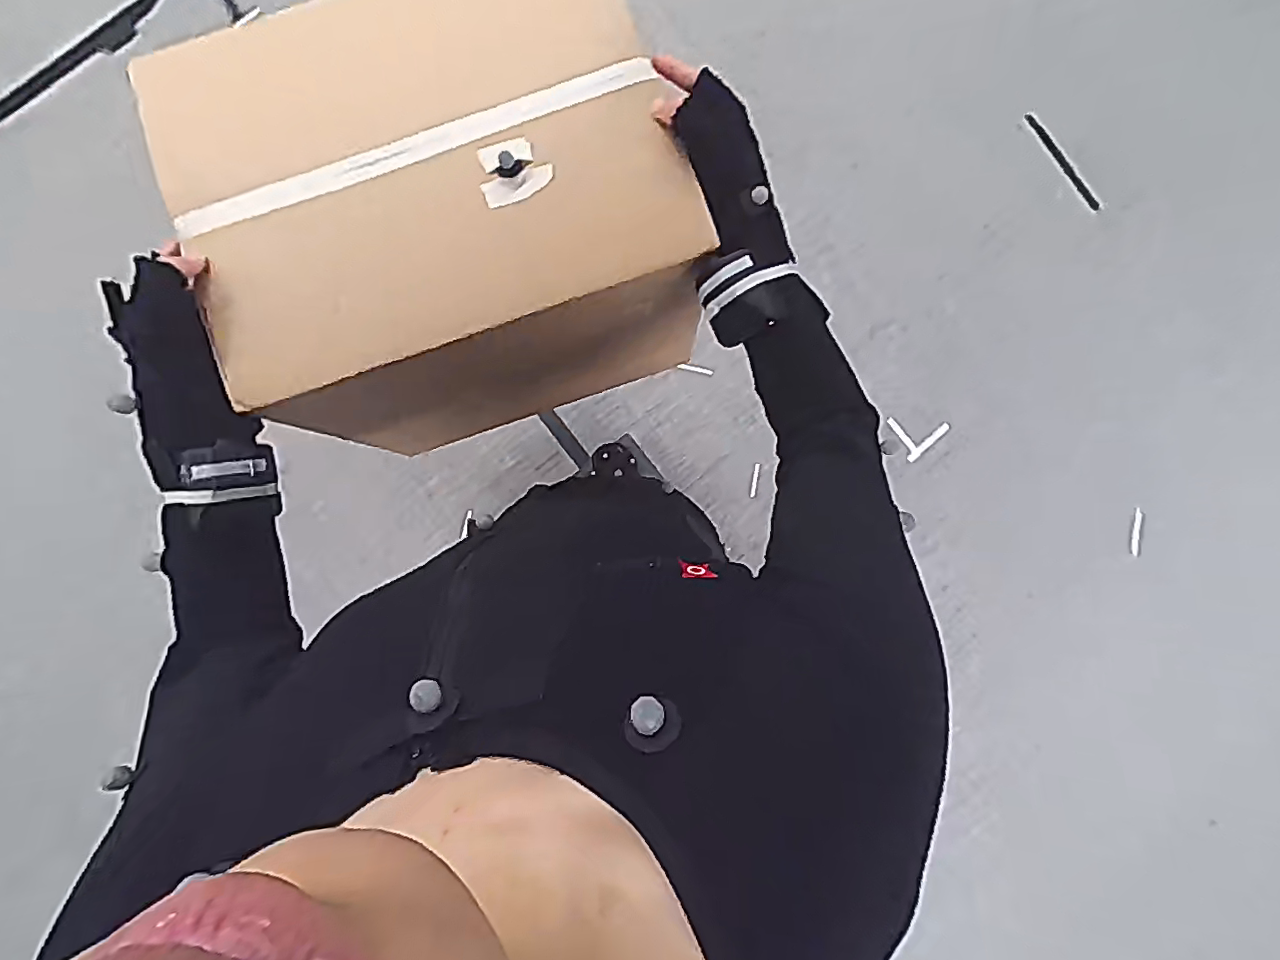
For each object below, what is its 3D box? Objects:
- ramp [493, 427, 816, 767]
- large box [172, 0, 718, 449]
[{"bbox_3d":[0.085,0.375,1.596,0.509,0.206,0.991,-41,94,-4],"label":"ramp"},{"bbox_3d":[-0.169,-0.259,0.602,0.408,0.320,0.320,-19,86,-1],"label":"large box"}]
